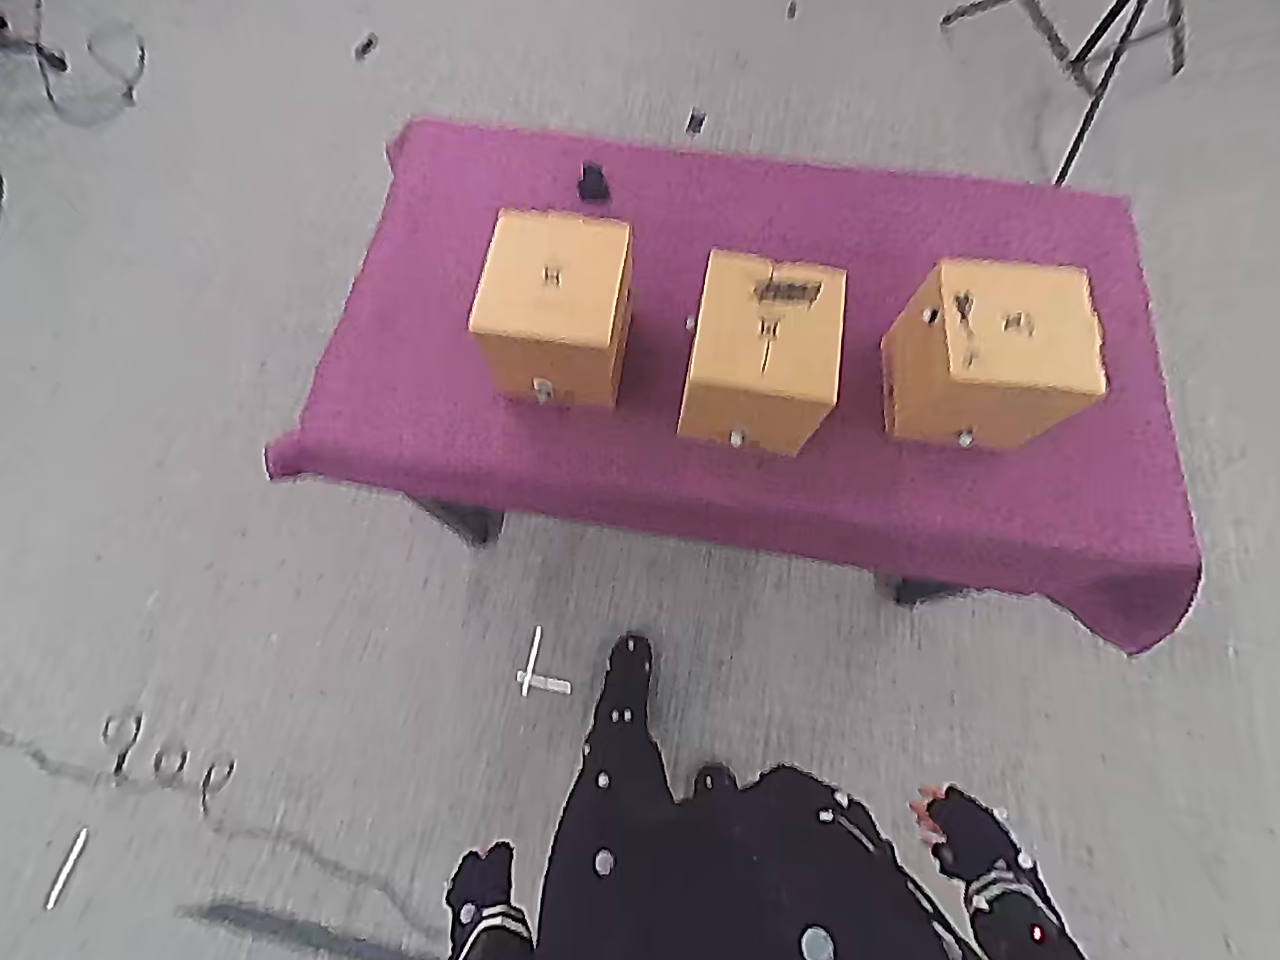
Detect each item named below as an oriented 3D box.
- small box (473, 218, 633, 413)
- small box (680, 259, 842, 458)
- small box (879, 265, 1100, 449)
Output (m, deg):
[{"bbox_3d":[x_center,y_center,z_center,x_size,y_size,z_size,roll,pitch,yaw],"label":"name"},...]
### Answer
[{"bbox_3d":[-0.102,-0.211,0.721,0.168,0.176,0.179,7,71,3],"label":"small box"},{"bbox_3d":[0.148,-0.149,0.701,0.168,0.176,0.179,10,71,3],"label":"small box"},{"bbox_3d":[0.436,-0.150,0.707,0.179,0.176,0.168,6,70,1],"label":"small box"}]
